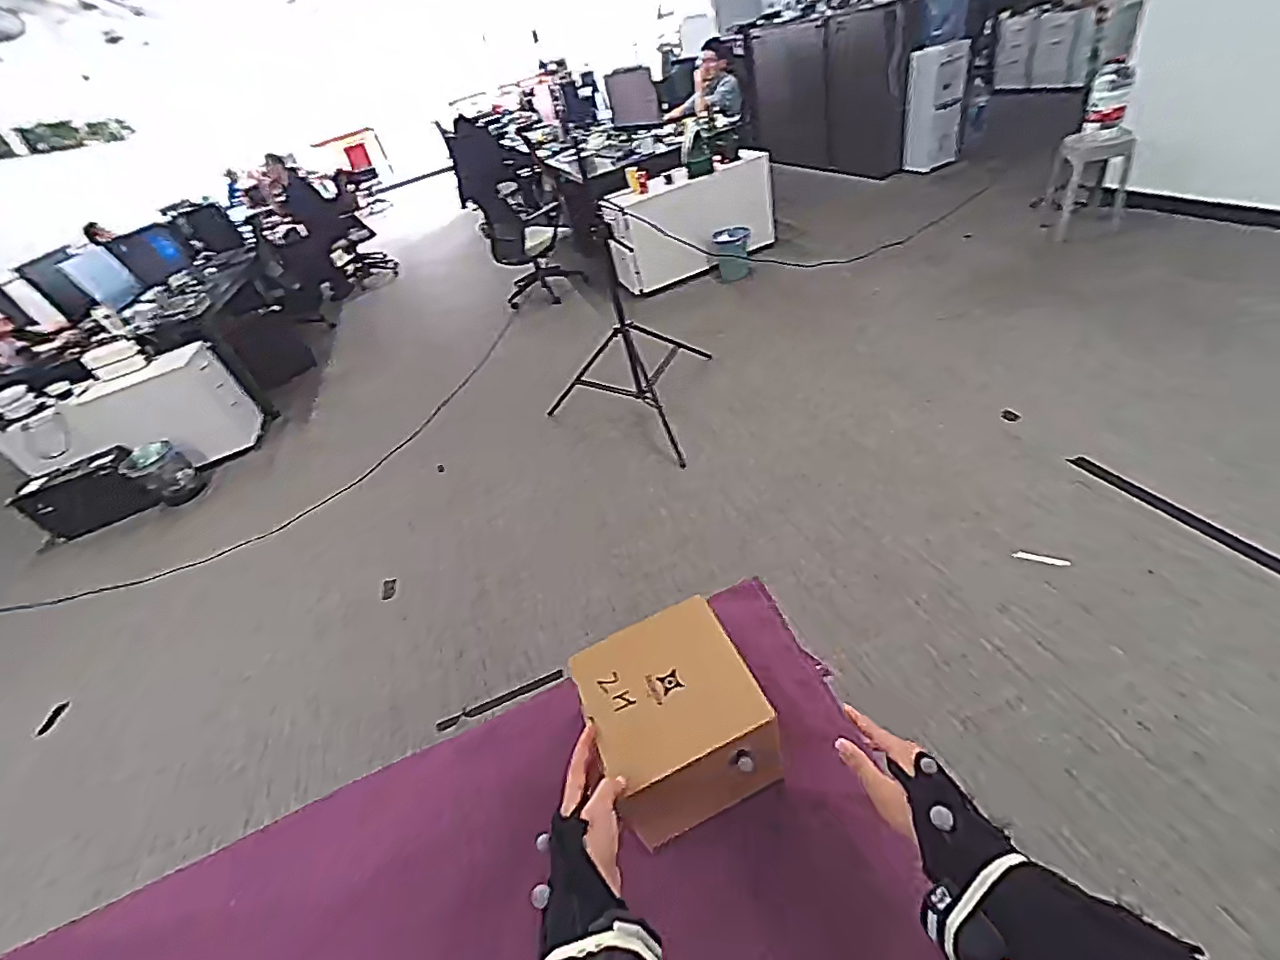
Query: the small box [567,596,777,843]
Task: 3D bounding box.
[{"bbox_3d":[0.041,0.272,0.617,0.179,0.176,0.168,-25,42,-8],"label":"small box"}]
